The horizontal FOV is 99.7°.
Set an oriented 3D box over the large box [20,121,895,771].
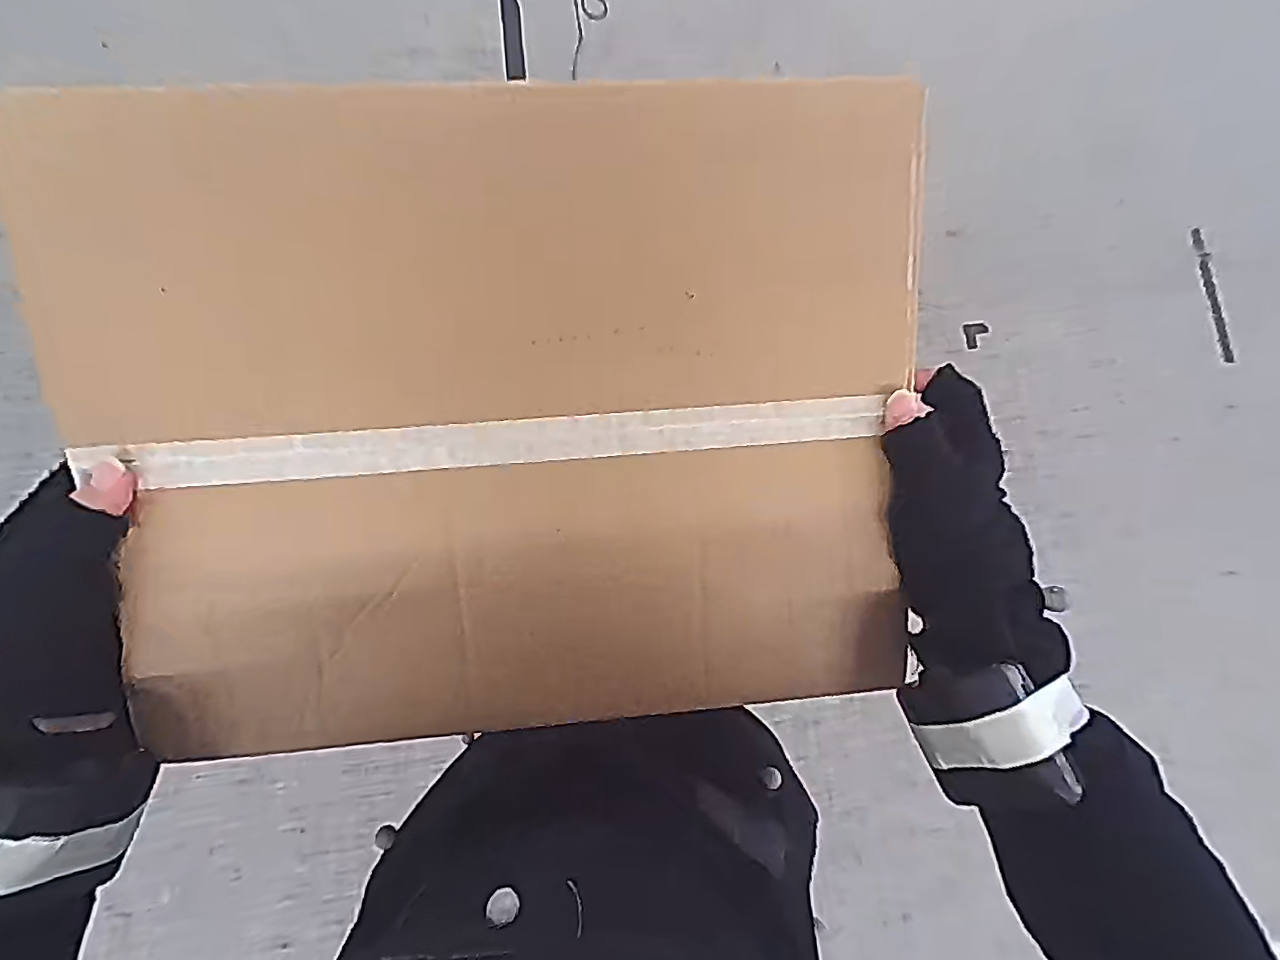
[{"bbox_3d":[-0.074,-0.036,0.422,0.408,0.320,0.320,-4,101,-4],"label":"large box"}]
